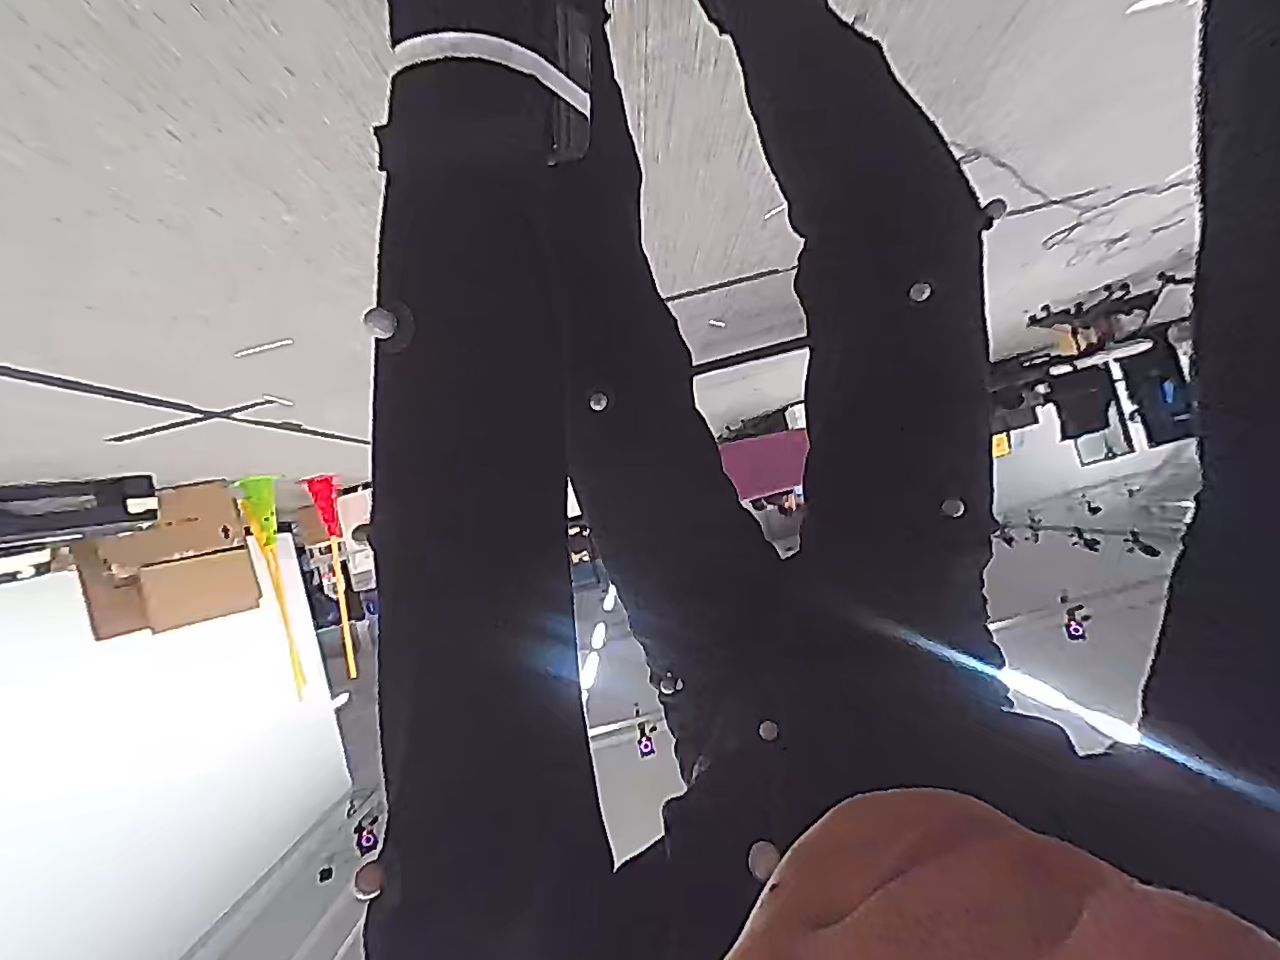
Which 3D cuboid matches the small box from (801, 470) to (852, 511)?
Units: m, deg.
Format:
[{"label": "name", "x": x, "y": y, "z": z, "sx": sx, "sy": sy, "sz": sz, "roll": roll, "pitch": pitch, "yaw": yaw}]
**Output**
[{"label": "small box", "x": 0.938, "y": 0.051, "z": 2.726, "sx": 0.179, "sy": 0.176, "sz": 0.168, "roll": -15, "pitch": 177, "yaw": 2}]
